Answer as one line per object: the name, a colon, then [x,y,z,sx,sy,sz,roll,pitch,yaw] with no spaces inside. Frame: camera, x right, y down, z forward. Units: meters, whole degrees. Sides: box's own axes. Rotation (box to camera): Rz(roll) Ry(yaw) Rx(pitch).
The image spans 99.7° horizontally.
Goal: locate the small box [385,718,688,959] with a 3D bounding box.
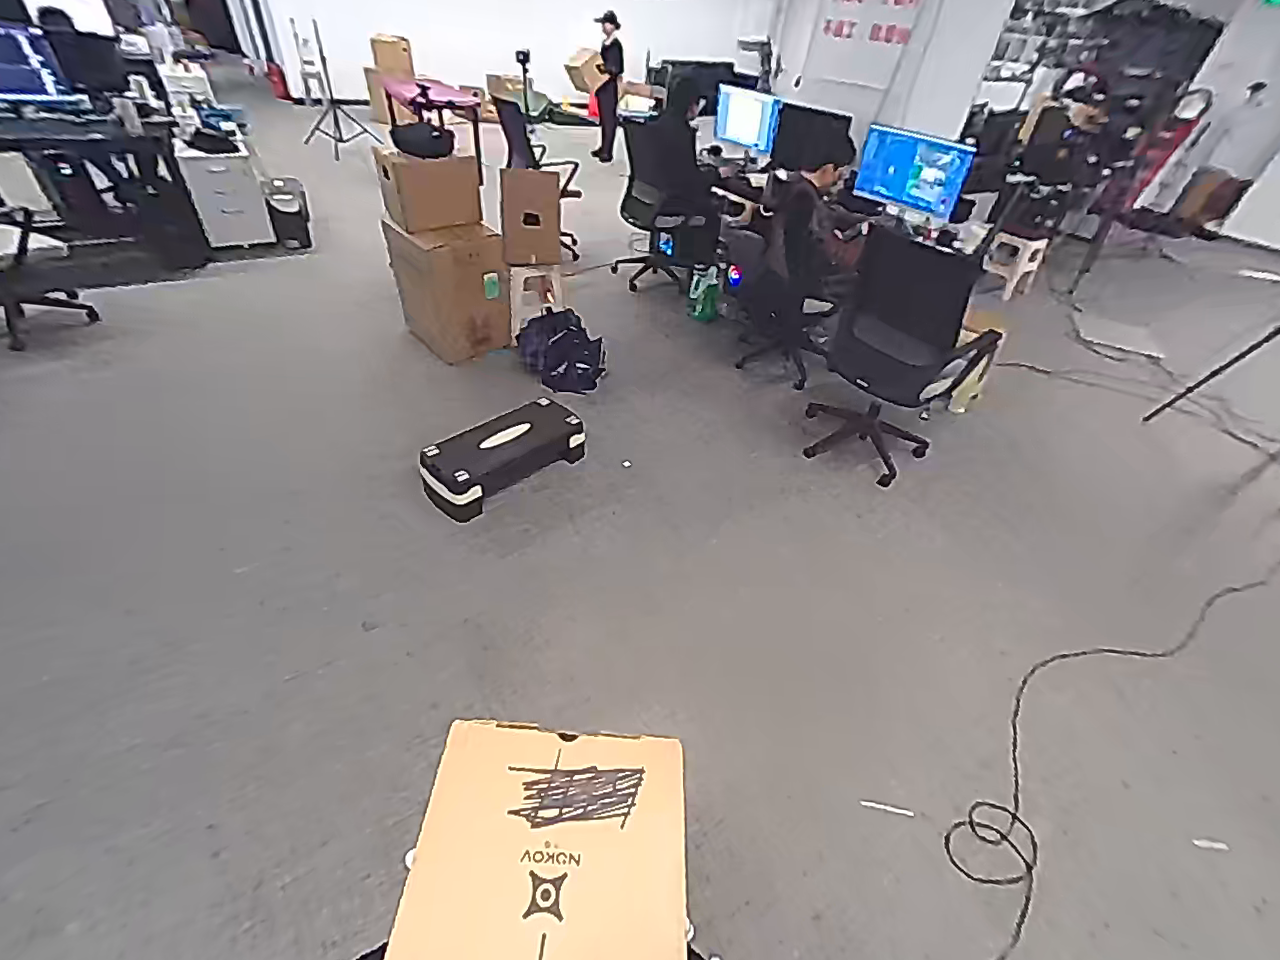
small box: [-0.062,0.293,0.374,0.168,0.176,0.179,7,44,-3]
